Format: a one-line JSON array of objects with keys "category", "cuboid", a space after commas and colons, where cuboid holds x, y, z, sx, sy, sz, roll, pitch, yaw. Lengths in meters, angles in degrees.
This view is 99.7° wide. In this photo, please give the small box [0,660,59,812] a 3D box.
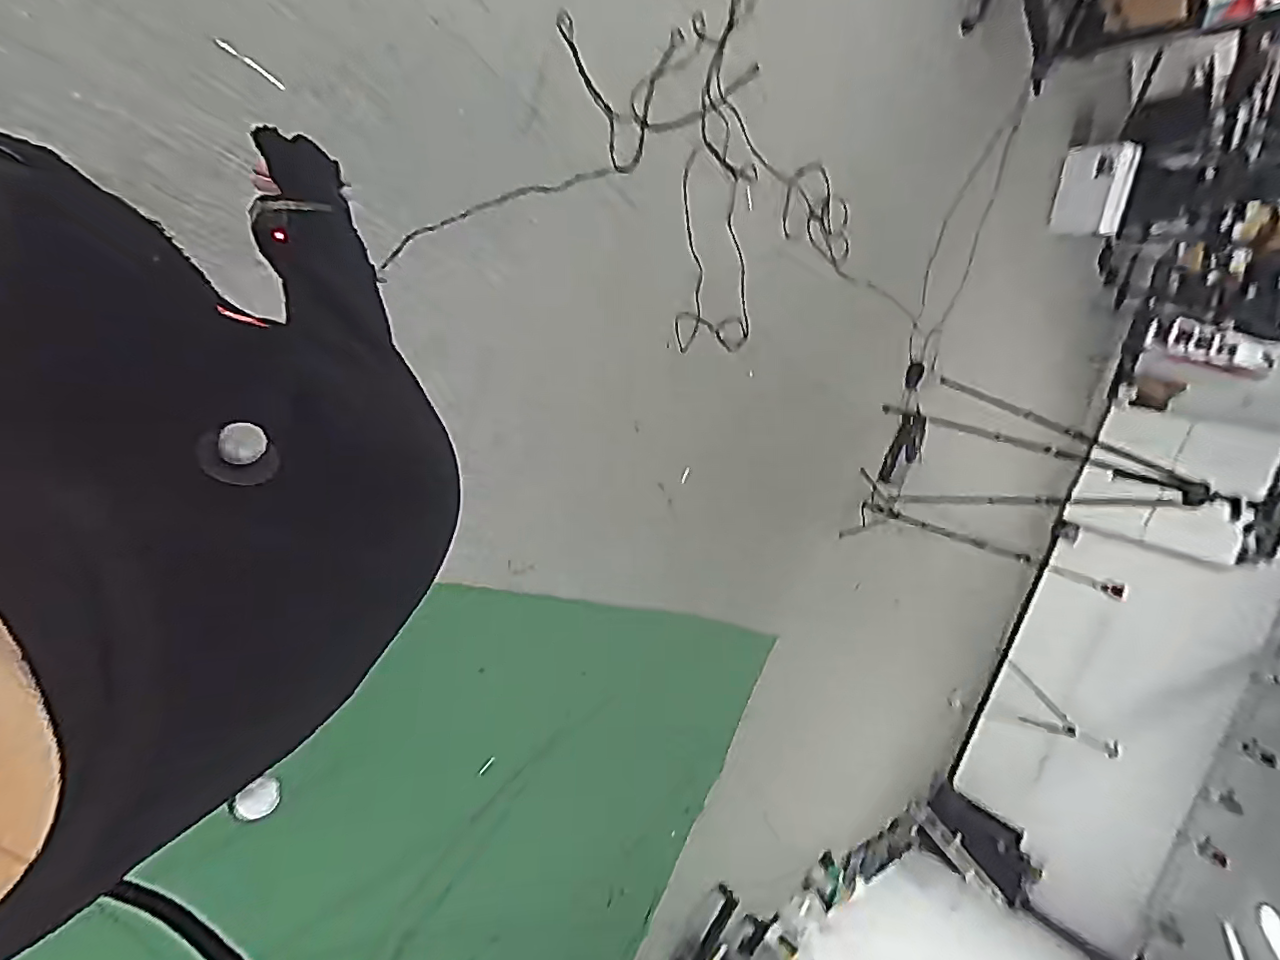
[{"category": "small box", "cuboid": [-1.105, 0.416, 0.886, 0.168, 0.176, 0.179, 28, 87, -46]}]
